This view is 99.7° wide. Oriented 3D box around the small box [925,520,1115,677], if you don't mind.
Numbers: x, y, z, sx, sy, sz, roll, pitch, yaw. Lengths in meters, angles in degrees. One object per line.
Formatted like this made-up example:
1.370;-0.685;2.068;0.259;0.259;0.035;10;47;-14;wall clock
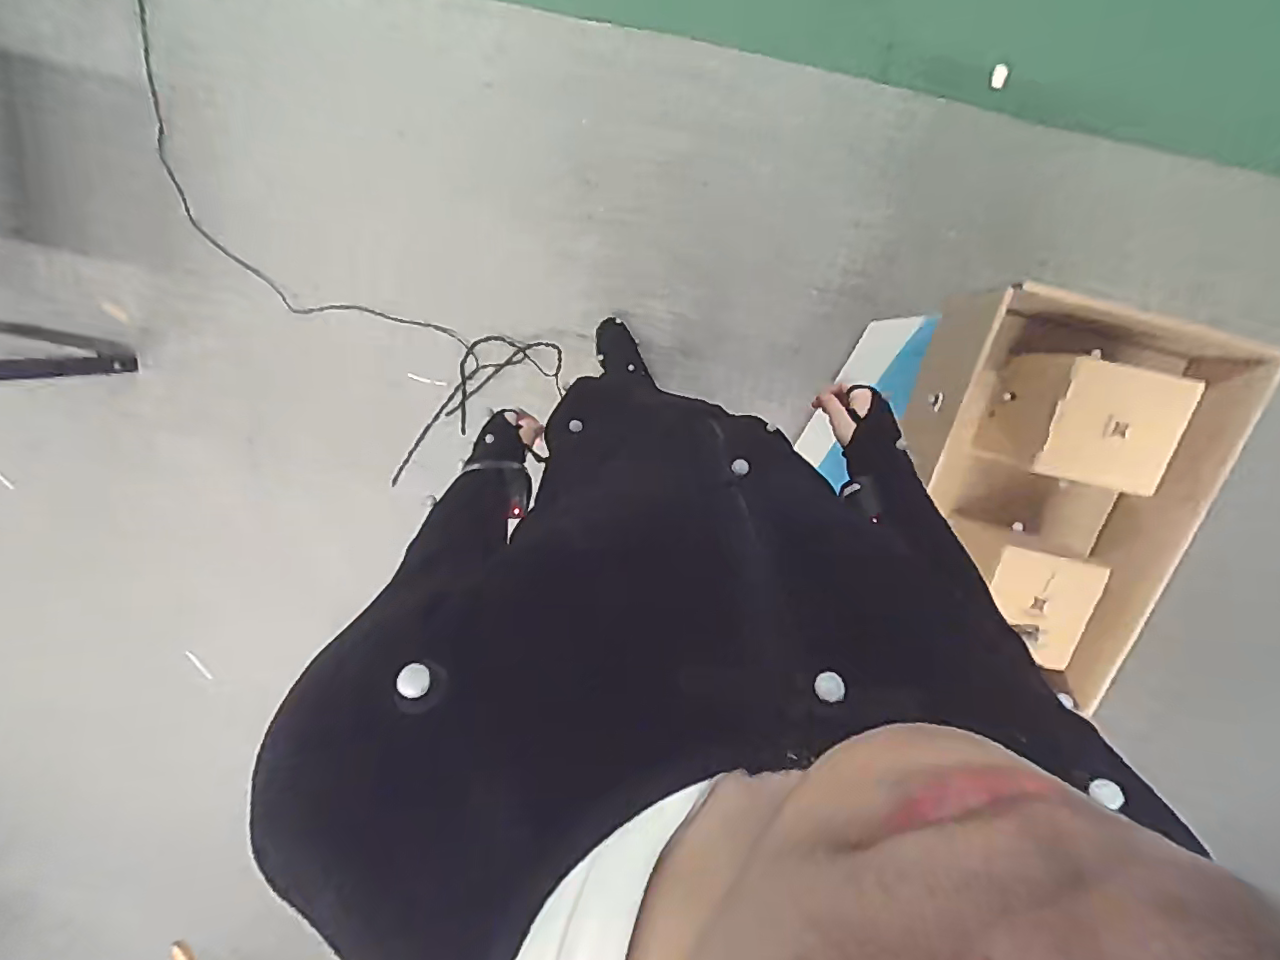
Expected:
0.602;0.185;0.888;0.168;0.176;0.179;14;103;-1;small box
